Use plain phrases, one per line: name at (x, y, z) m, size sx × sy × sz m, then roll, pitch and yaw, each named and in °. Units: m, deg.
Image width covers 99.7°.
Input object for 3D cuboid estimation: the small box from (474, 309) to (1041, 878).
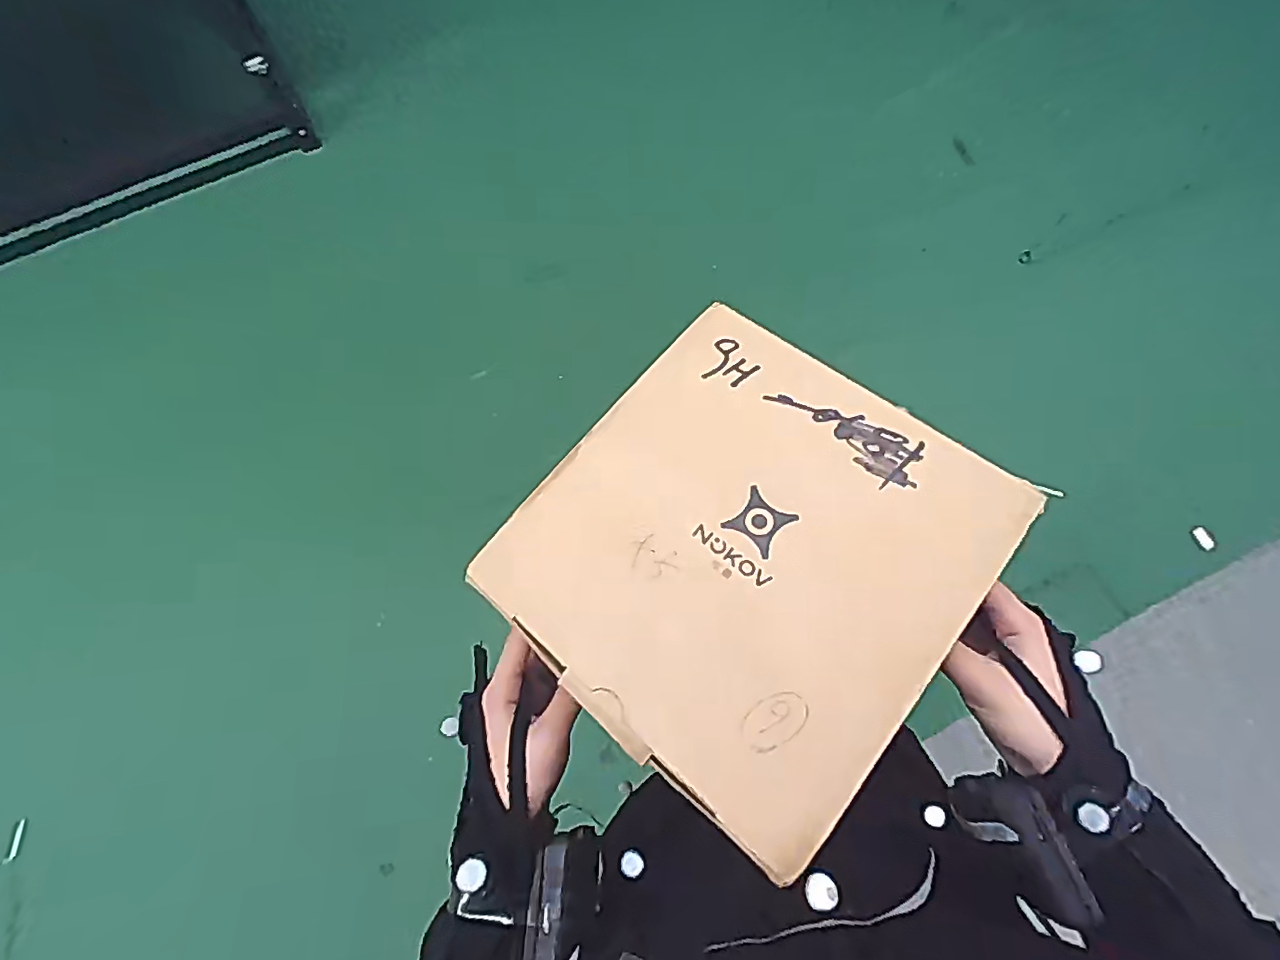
small box at (0.053, 0.054, 0.294) m, size 0.168 × 0.176 × 0.179 m, roll 38°, pitch 78°, yaw 19°
